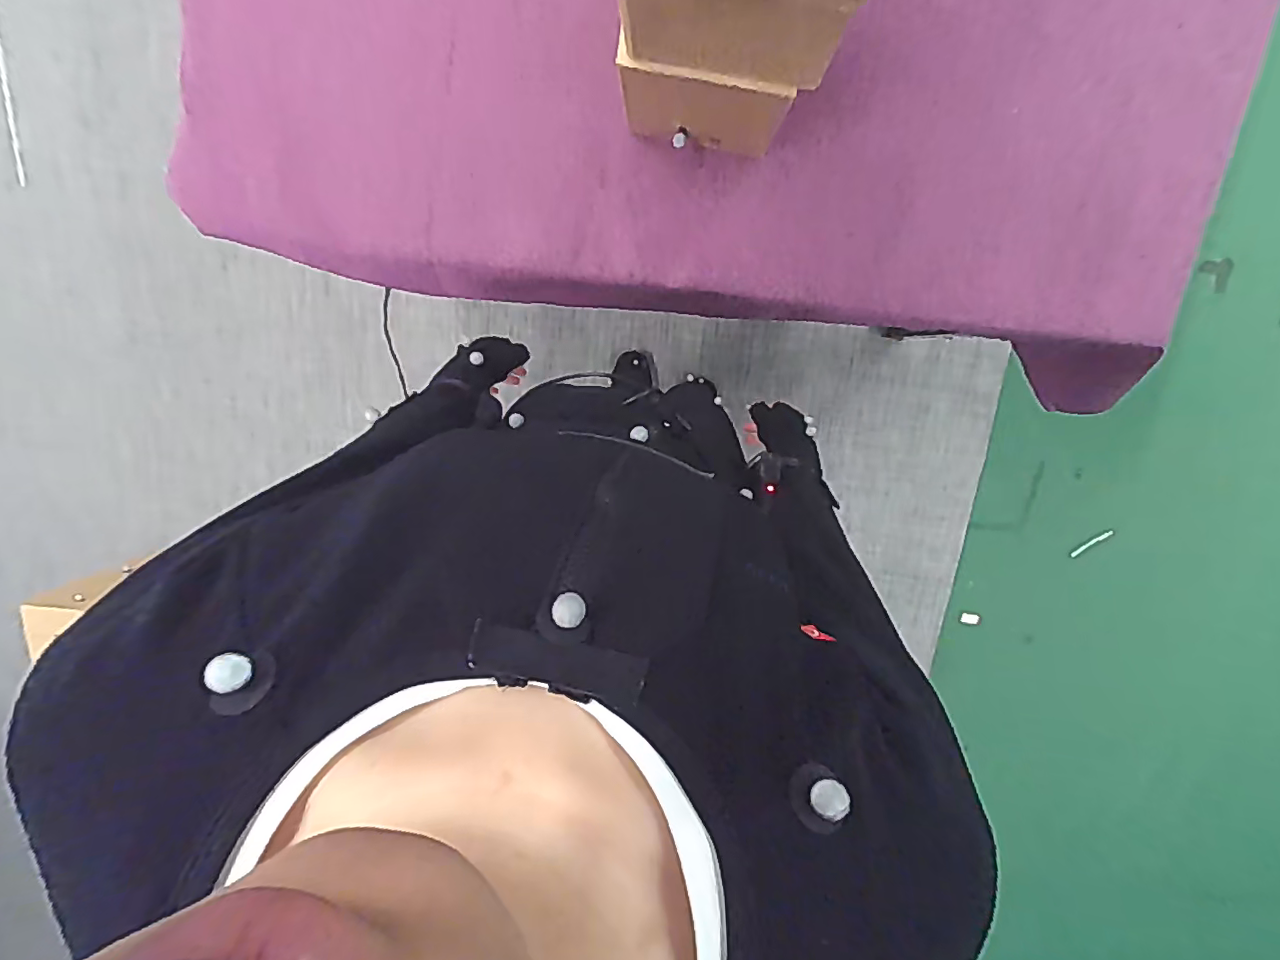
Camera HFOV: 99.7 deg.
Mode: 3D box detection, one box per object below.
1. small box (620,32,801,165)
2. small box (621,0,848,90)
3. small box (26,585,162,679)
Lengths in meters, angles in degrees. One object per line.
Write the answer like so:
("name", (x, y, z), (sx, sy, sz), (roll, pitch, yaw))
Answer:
("small box", (0.079, -0.449, 0.539), (0.168, 0.176, 0.179), (11, 104, 0))
("small box", (0.080, -0.412, 0.382), (0.179, 0.176, 0.168), (9, 103, 0))
("small box", (-1.358, 0.377, 1.363), (0.179, 0.176, 0.168), (5, 104, 1))
